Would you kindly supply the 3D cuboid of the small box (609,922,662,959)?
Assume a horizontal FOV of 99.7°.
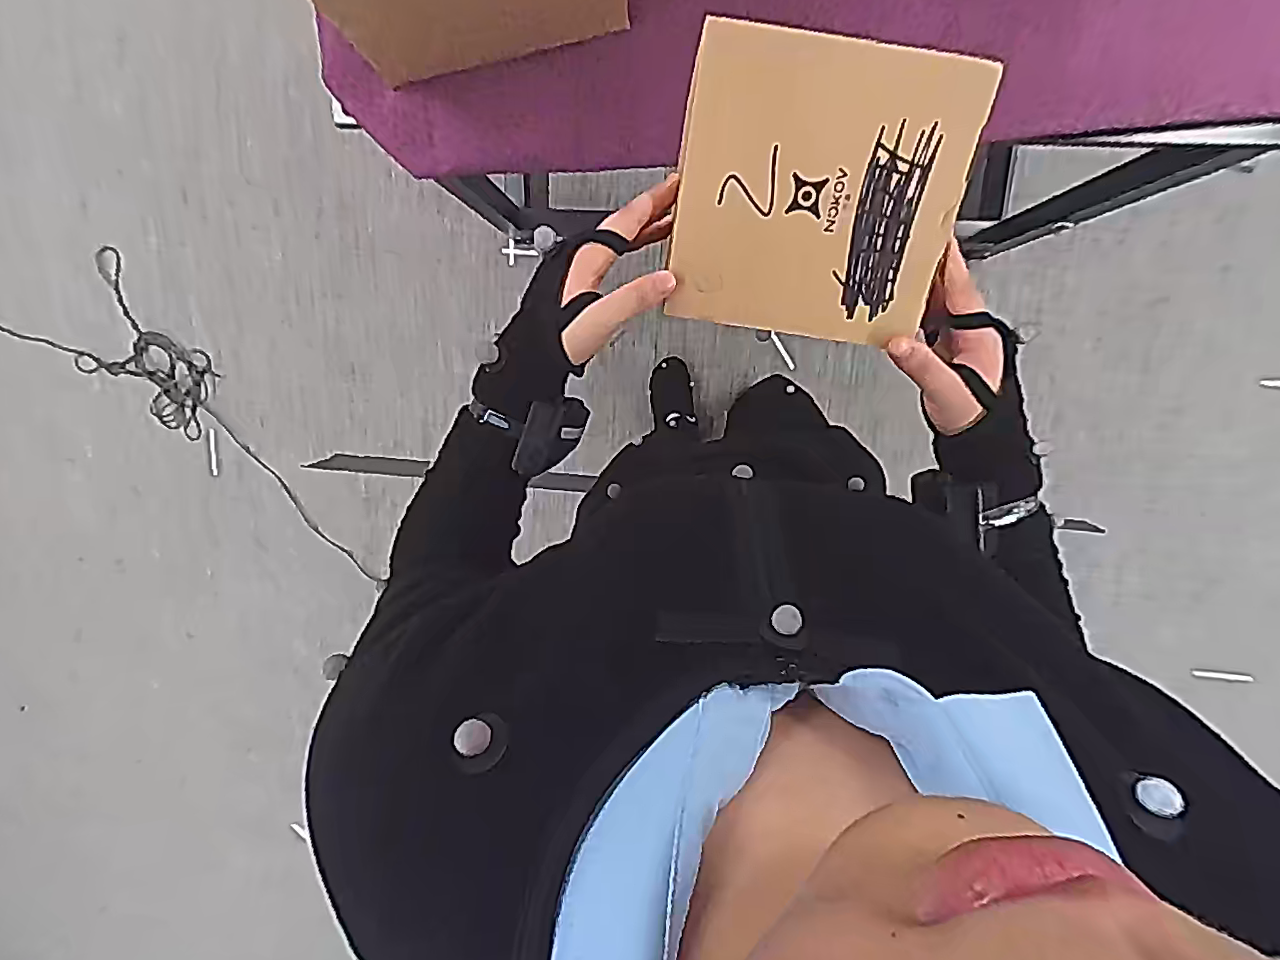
[{"bbox_3d":[-0.016,1.577,1.744,0.168,0.176,0.179,0,102,4],"label":"small box"}]
